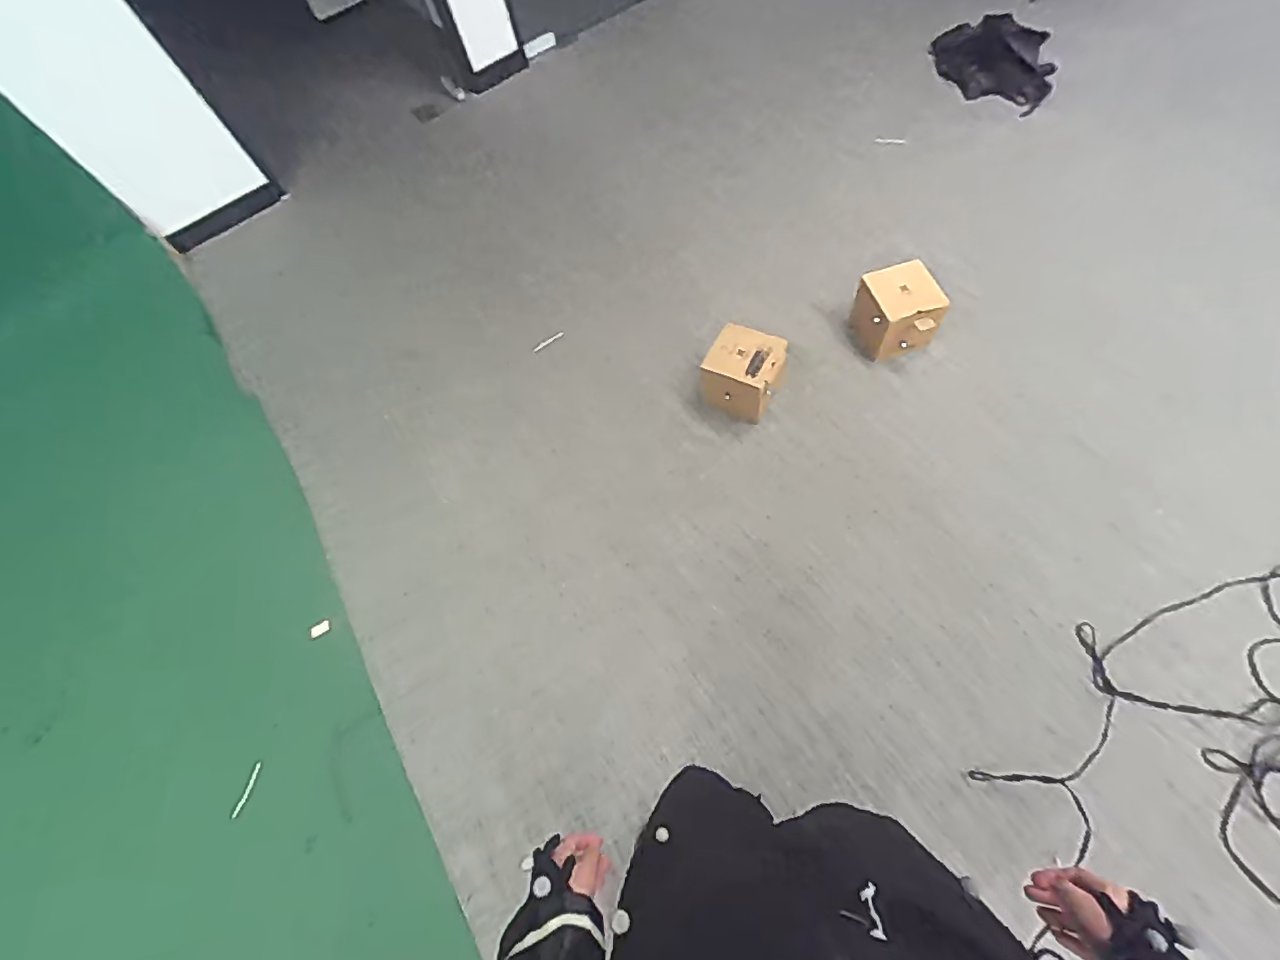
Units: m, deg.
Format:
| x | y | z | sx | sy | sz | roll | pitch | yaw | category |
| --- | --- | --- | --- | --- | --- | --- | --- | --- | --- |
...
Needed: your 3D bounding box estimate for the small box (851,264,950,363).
| x | y | z | sx | sy | sz | roll | pitch | yaw | category |
| --- | --- | --- | --- | --- | --- | --- | --- | --- | --- |
| 0.705 | -0.455 | 1.491 | 0.168 | 0.176 | 0.179 | -16 | 63 | 0 | small box |
